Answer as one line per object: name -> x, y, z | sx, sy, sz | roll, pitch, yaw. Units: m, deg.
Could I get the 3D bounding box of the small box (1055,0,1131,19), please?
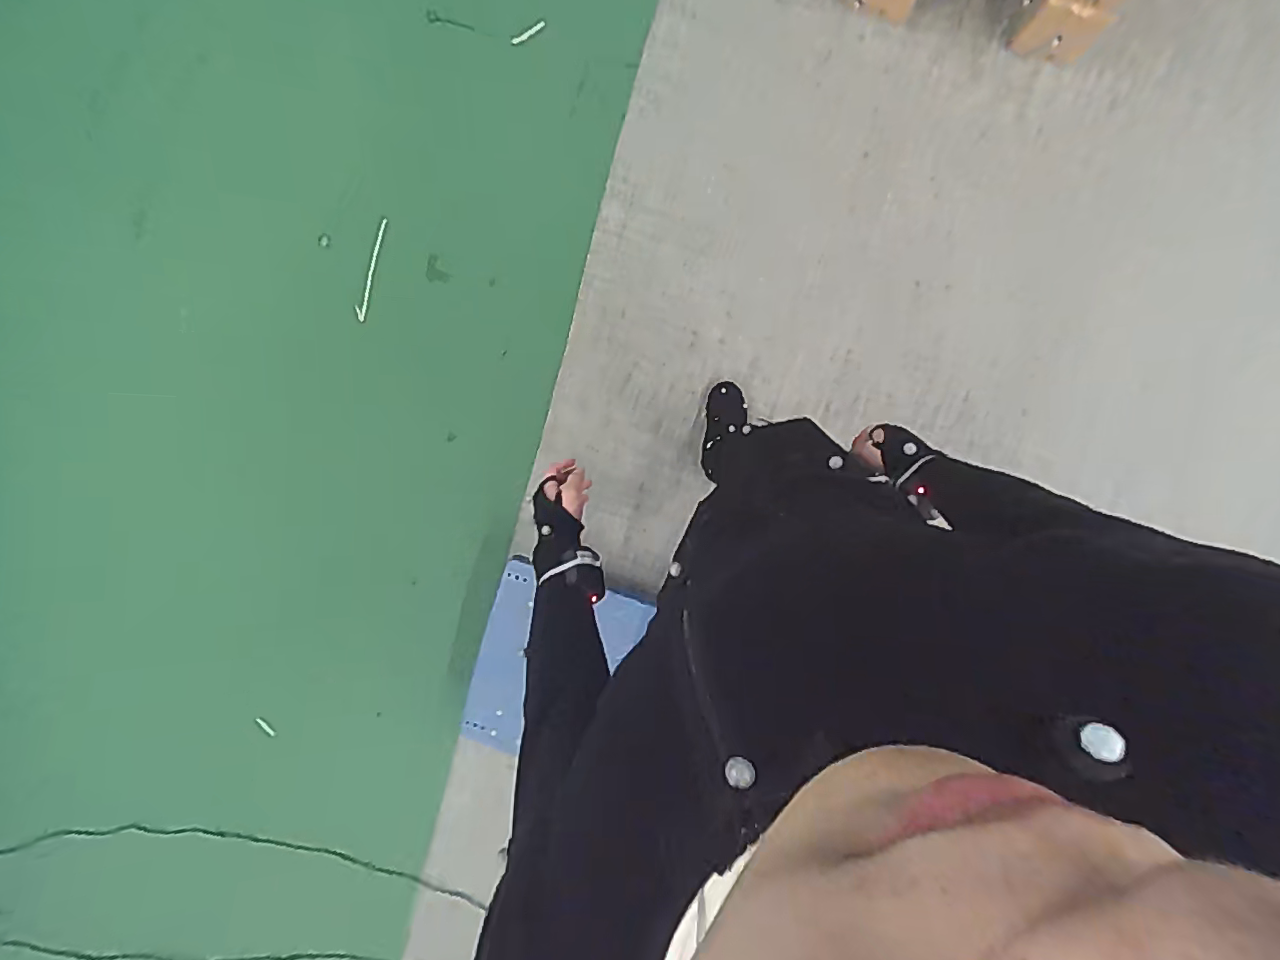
small box -> 1.038, -1.160, 1.159 | 0.168, 0.176, 0.179 | 24, 98, 4

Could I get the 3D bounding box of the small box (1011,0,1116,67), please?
small box -> 1.054, -1.167, 1.323 | 0.168, 0.176, 0.179 | 20, 98, 4

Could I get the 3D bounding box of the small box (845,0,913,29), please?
small box -> 0.642, -1.308, 1.372 | 0.168, 0.176, 0.179 | 22, 98, 4
